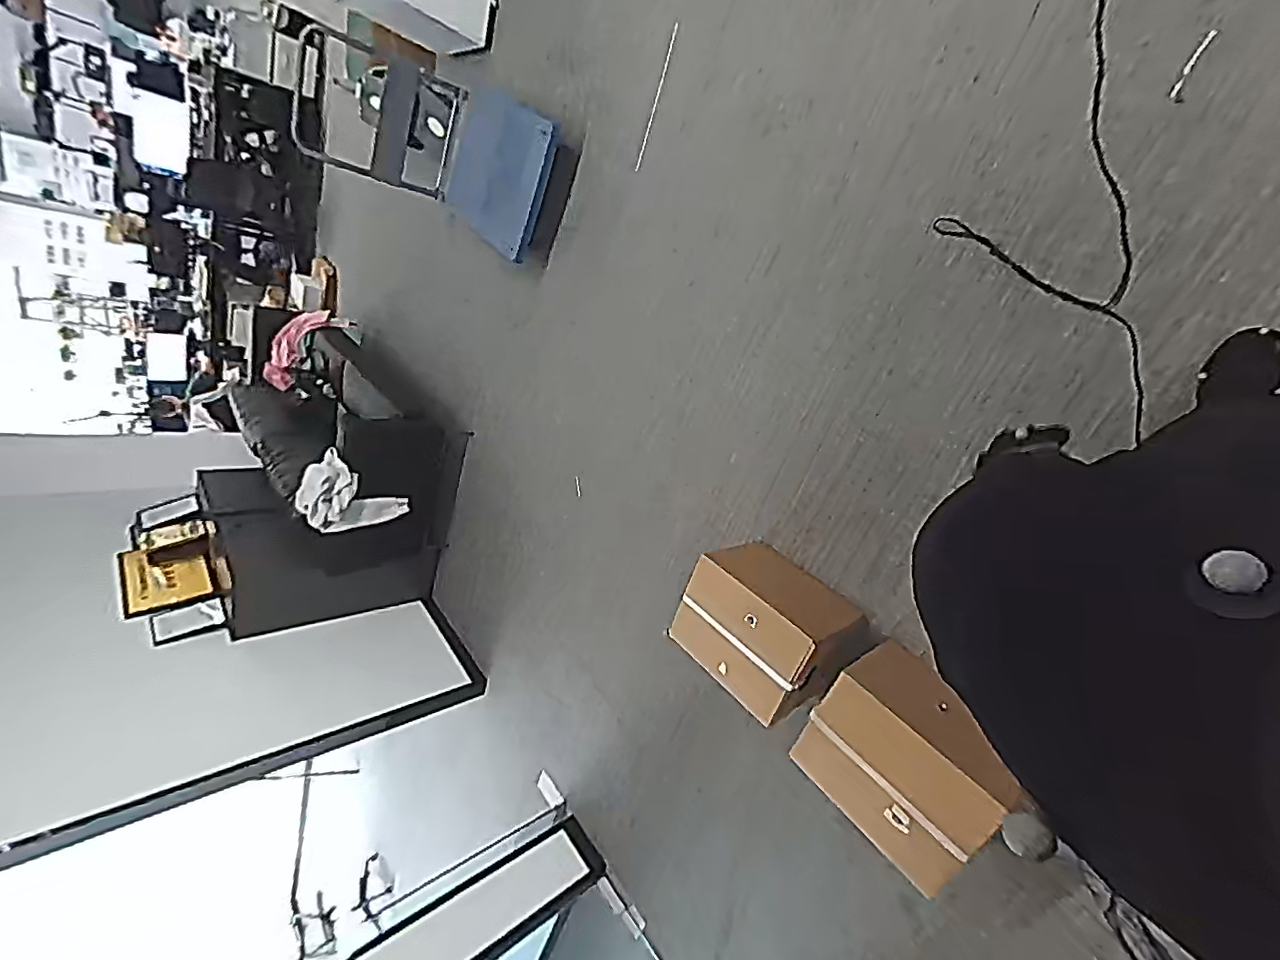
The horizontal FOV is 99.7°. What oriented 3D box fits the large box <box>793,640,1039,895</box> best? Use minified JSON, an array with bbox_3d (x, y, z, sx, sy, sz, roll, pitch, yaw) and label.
[{"bbox_3d":[0.673,0.673,1.345,0.408,0.320,0.320,38,118,34],"label":"large box"}]
